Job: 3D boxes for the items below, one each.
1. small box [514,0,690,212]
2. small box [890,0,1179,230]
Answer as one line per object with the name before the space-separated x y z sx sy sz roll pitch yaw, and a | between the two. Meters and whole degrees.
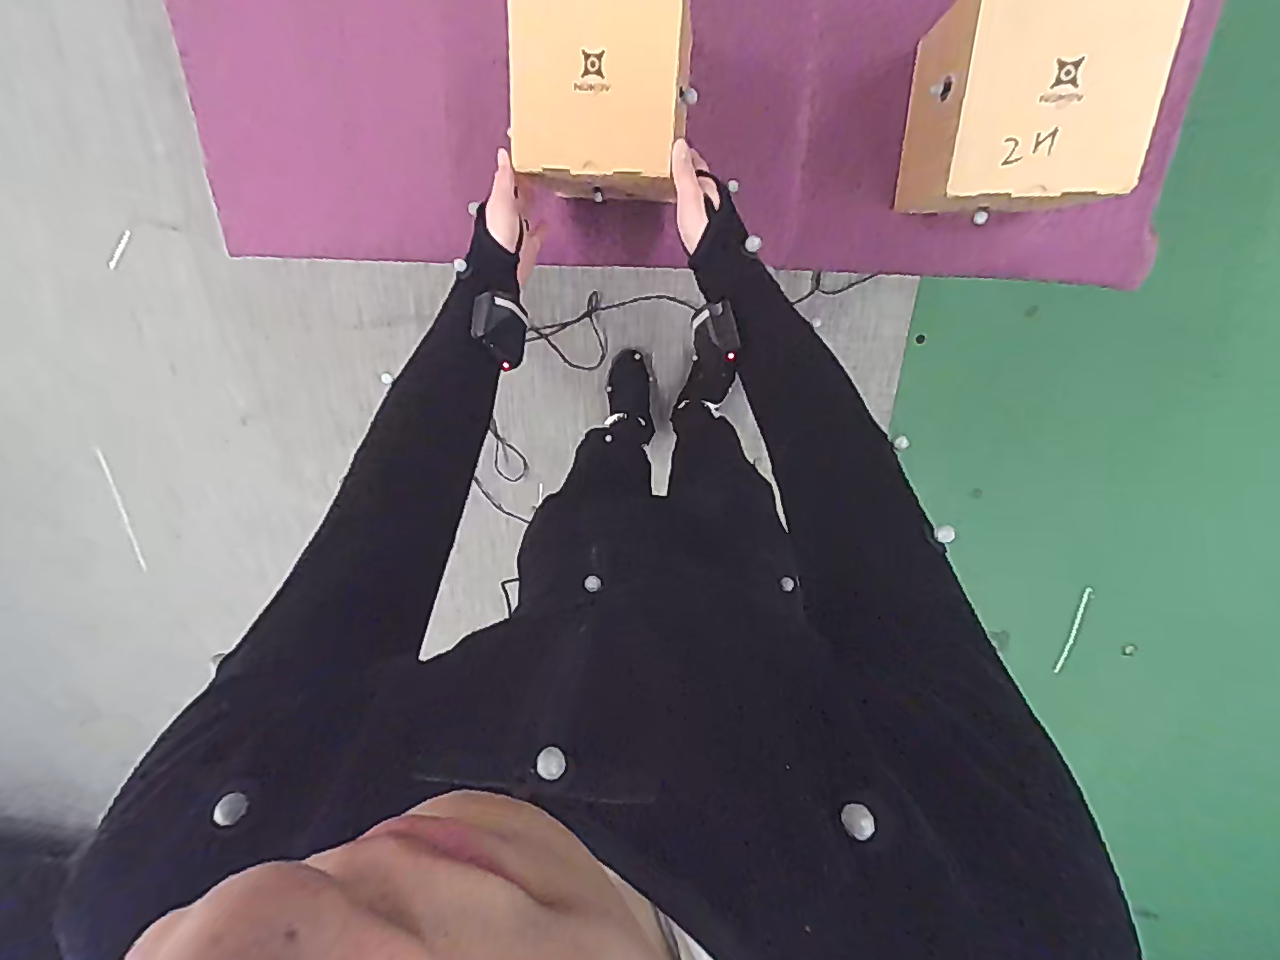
small box | -0.035 -0.405 0.598 0.168 0.176 0.179 5 112 4
small box | 0.382 -0.365 0.567 0.168 0.176 0.179 3 113 6
